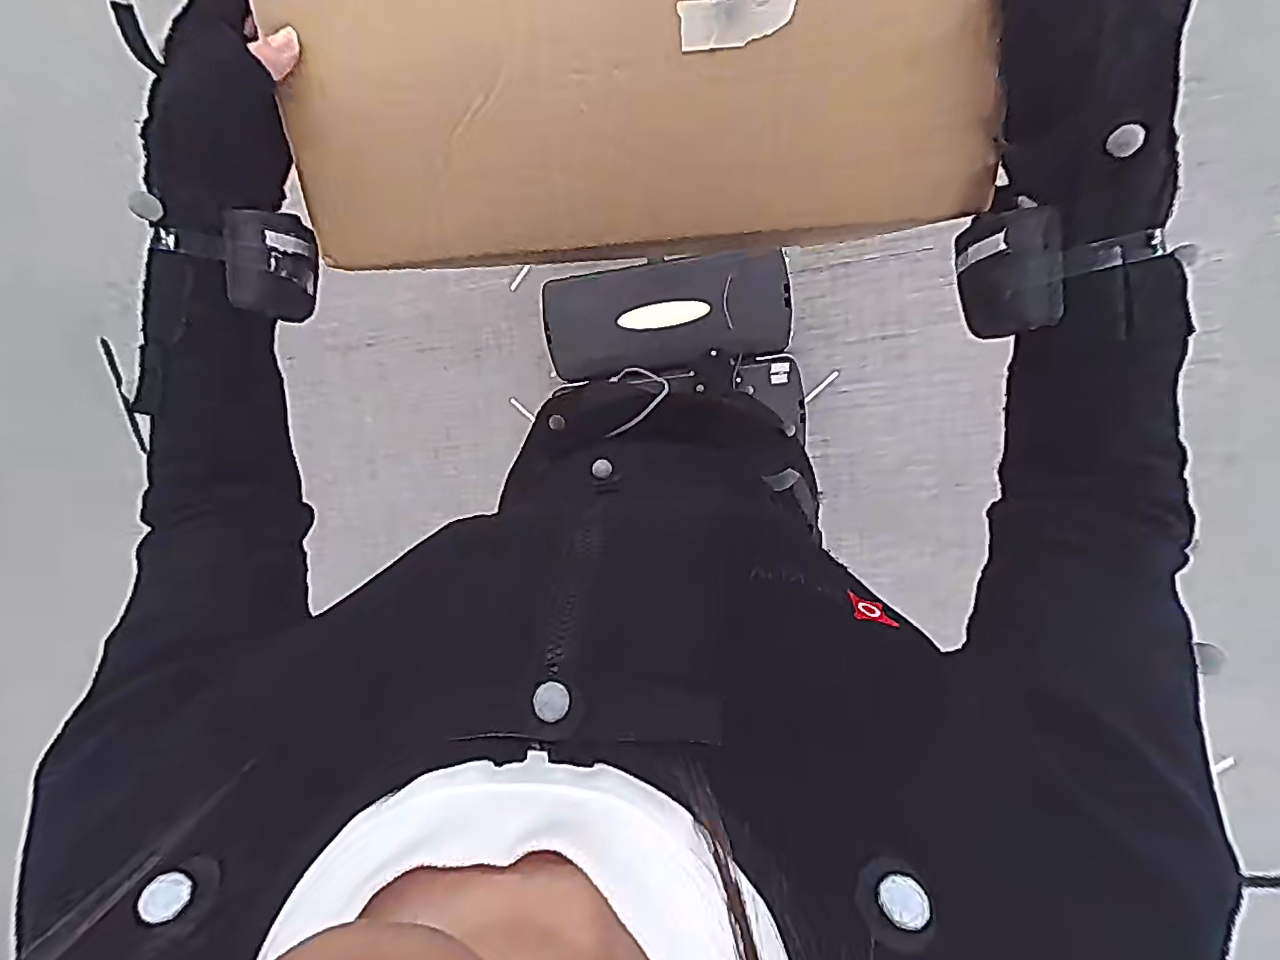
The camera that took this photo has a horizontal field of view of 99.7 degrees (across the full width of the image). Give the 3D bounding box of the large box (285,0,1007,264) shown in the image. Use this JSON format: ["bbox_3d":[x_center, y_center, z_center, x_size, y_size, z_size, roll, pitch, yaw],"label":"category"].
[{"bbox_3d":[0.006,-0.352,0.420,0.408,0.320,0.320,-1,112,9],"label":"large box"}]

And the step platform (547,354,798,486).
[{"bbox_3d":[0.087,-0.162,1.511,0.684,0.204,0.286,-7,102,11],"label":"step platform"}]
